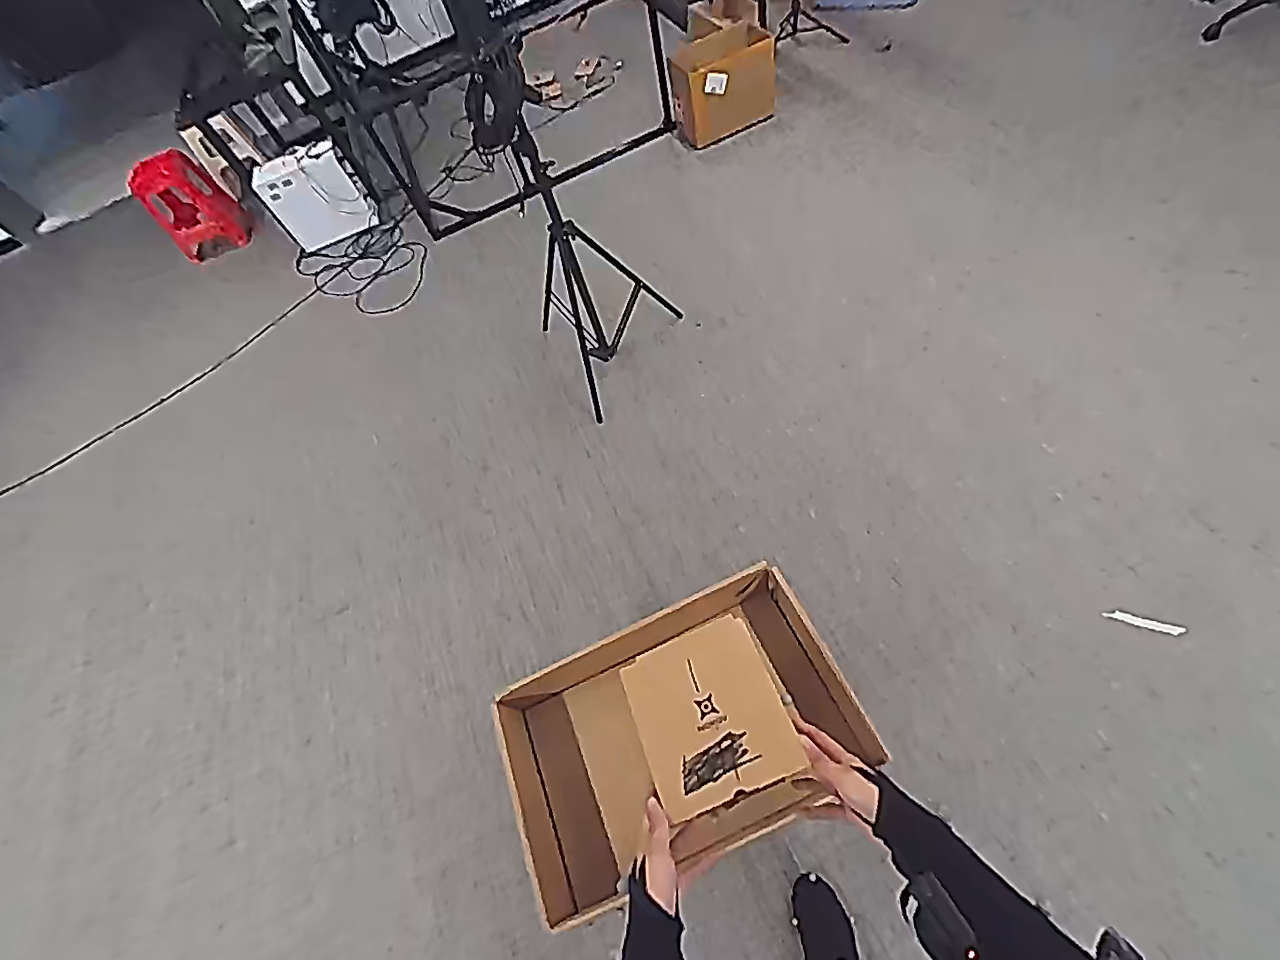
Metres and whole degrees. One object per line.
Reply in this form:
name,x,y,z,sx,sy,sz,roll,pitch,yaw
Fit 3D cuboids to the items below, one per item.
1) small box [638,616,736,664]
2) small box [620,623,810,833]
small box,0.115,0.346,0.853,0.168,0.176,0.179,-25,58,1
small box,0.096,0.306,0.671,0.168,0.176,0.179,-24,57,1
